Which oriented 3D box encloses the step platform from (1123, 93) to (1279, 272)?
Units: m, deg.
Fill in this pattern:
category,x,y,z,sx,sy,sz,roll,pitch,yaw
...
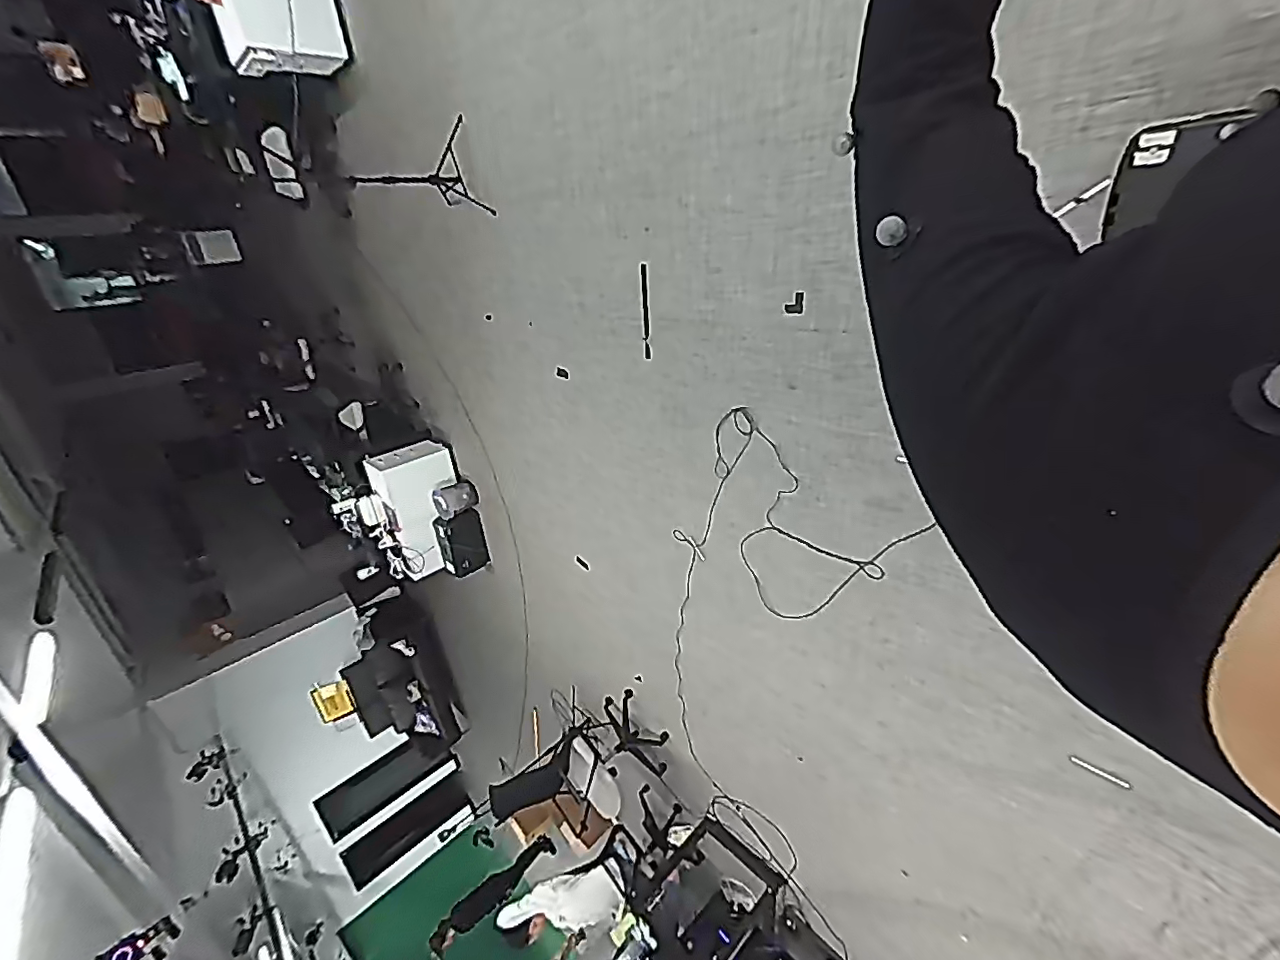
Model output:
category,x,y,z,sx,sy,sz,roll,pitch,yaw
step platform,1.242,-0.503,0.874,0.684,0.204,0.286,17,123,43
